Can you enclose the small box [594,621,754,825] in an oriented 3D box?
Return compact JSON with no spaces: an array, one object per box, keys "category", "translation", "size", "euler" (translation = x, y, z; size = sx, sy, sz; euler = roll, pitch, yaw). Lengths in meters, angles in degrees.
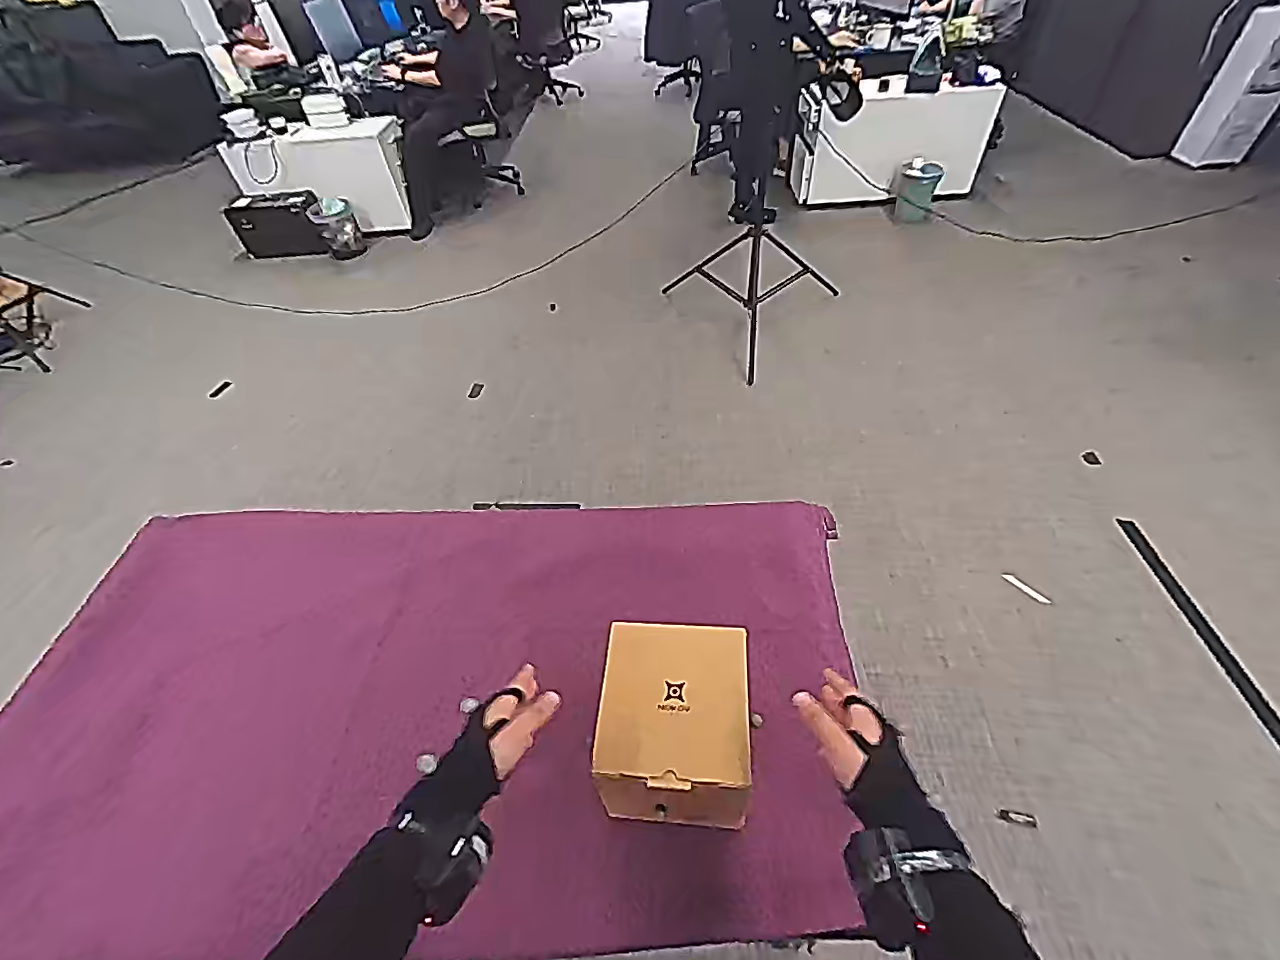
[{"category":"small box","translation":[0.046,0.295,0.658],"size":[0.168,0.176,0.179],"euler":[1,47,7]}]
